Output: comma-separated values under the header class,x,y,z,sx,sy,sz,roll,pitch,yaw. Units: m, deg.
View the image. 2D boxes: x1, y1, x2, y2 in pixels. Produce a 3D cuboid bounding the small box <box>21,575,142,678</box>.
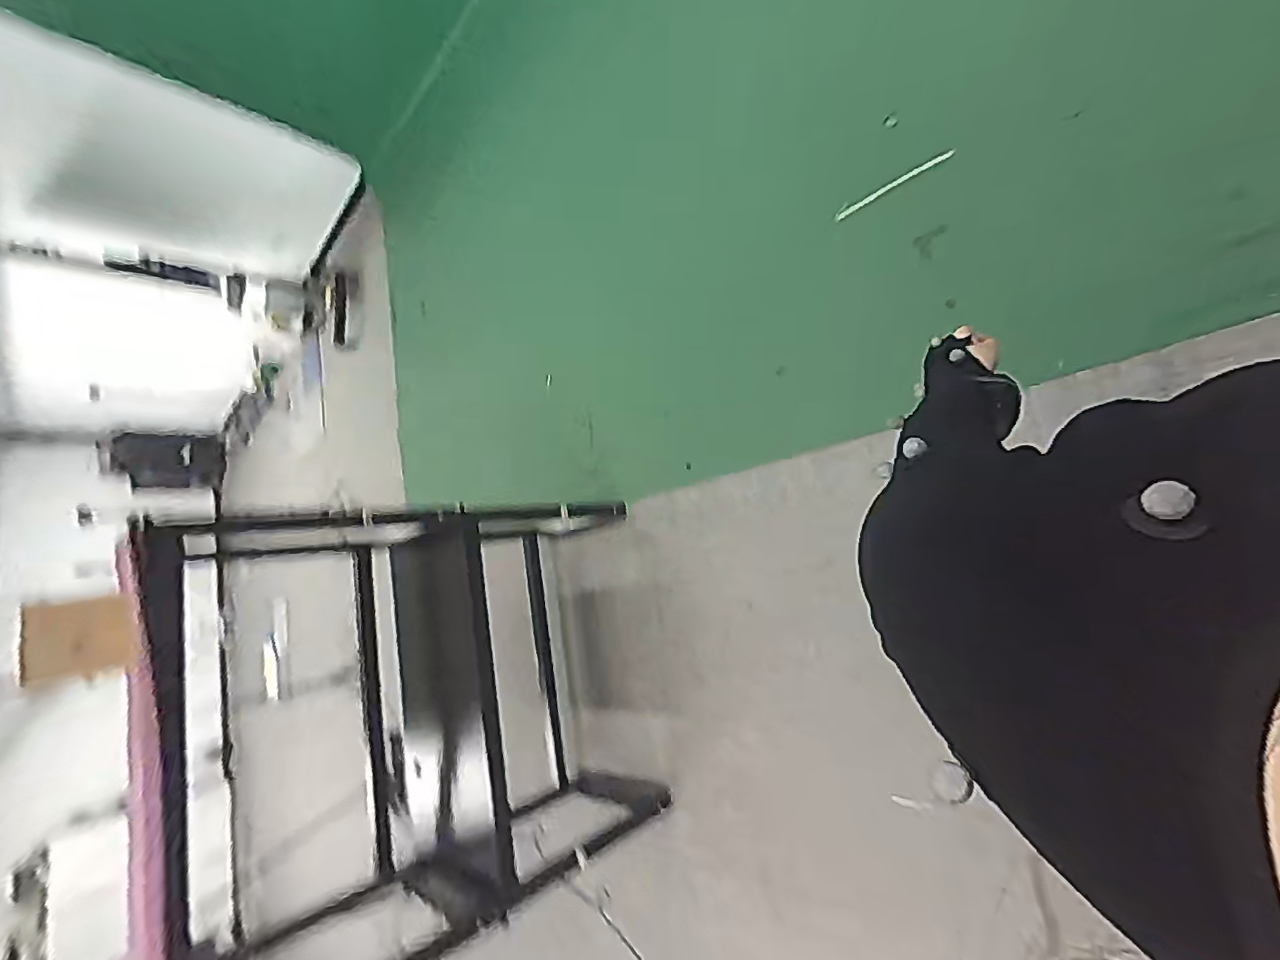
class,x,y,z,sx,sy,sz,roll,pitch,yaw
small box,-1.189,0.310,1.163,0.168,0.176,0.179,-18,79,46
